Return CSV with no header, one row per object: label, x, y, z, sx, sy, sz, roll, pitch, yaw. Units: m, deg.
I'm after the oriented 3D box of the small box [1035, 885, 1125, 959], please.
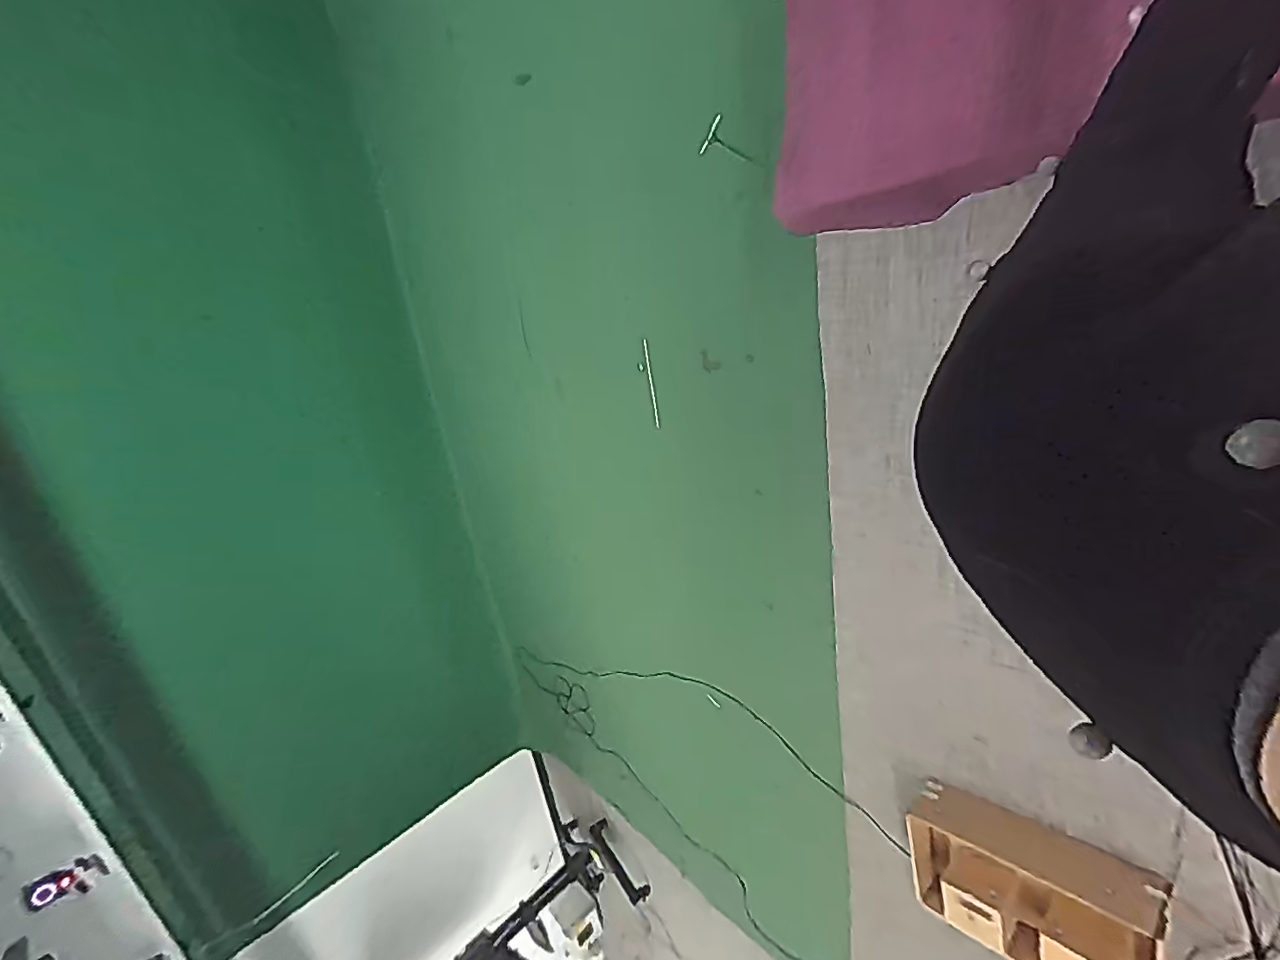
small box,1.254,1.316,1.540,0.179,0.176,0.168,5,112,50
